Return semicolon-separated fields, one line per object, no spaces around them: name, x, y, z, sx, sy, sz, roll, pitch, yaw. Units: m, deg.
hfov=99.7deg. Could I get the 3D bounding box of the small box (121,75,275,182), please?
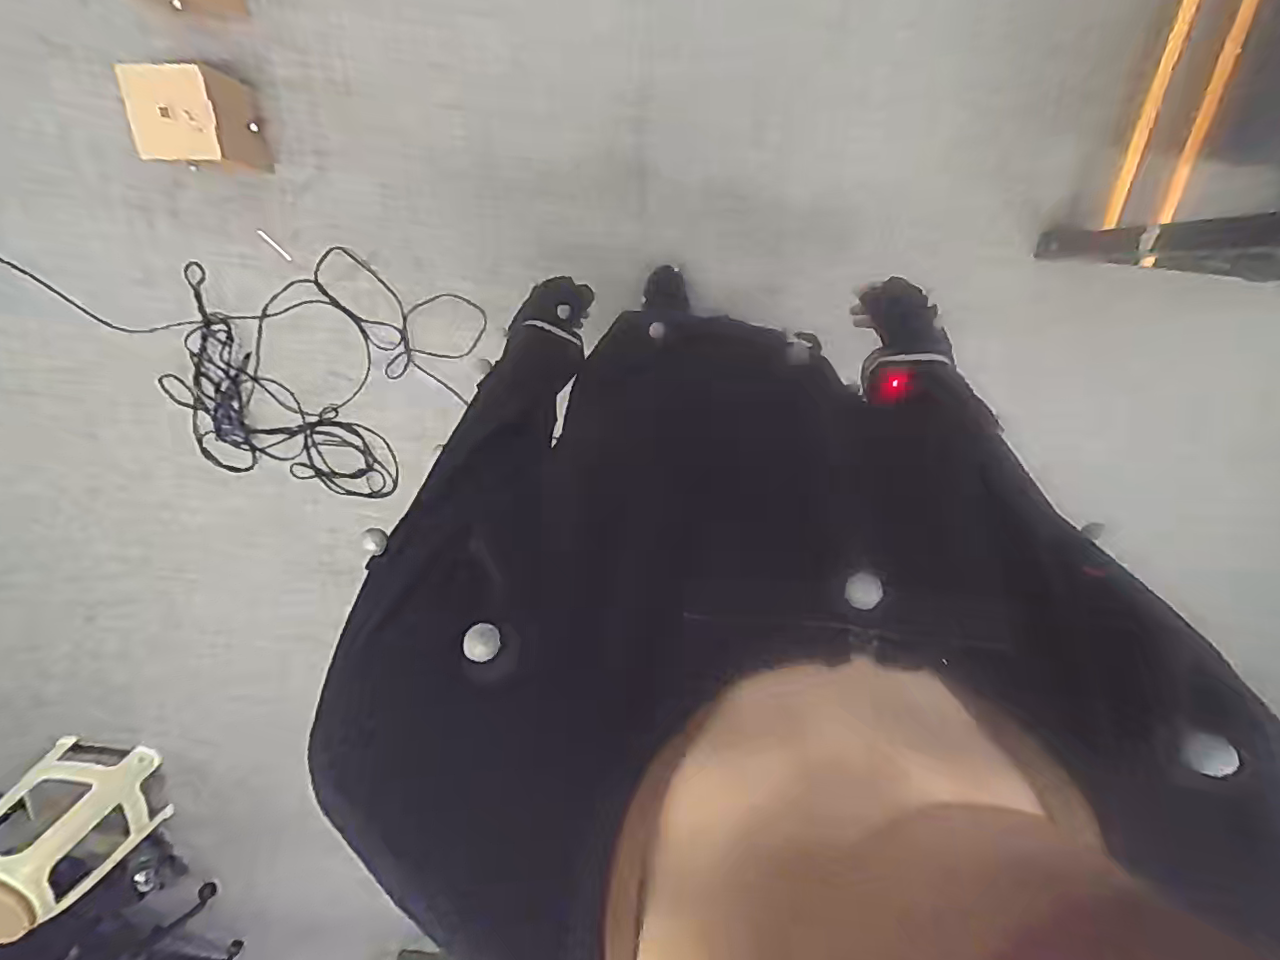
small box;-0.943;-0.751;1.171;0.179;0.176;0.168;1;111;0
